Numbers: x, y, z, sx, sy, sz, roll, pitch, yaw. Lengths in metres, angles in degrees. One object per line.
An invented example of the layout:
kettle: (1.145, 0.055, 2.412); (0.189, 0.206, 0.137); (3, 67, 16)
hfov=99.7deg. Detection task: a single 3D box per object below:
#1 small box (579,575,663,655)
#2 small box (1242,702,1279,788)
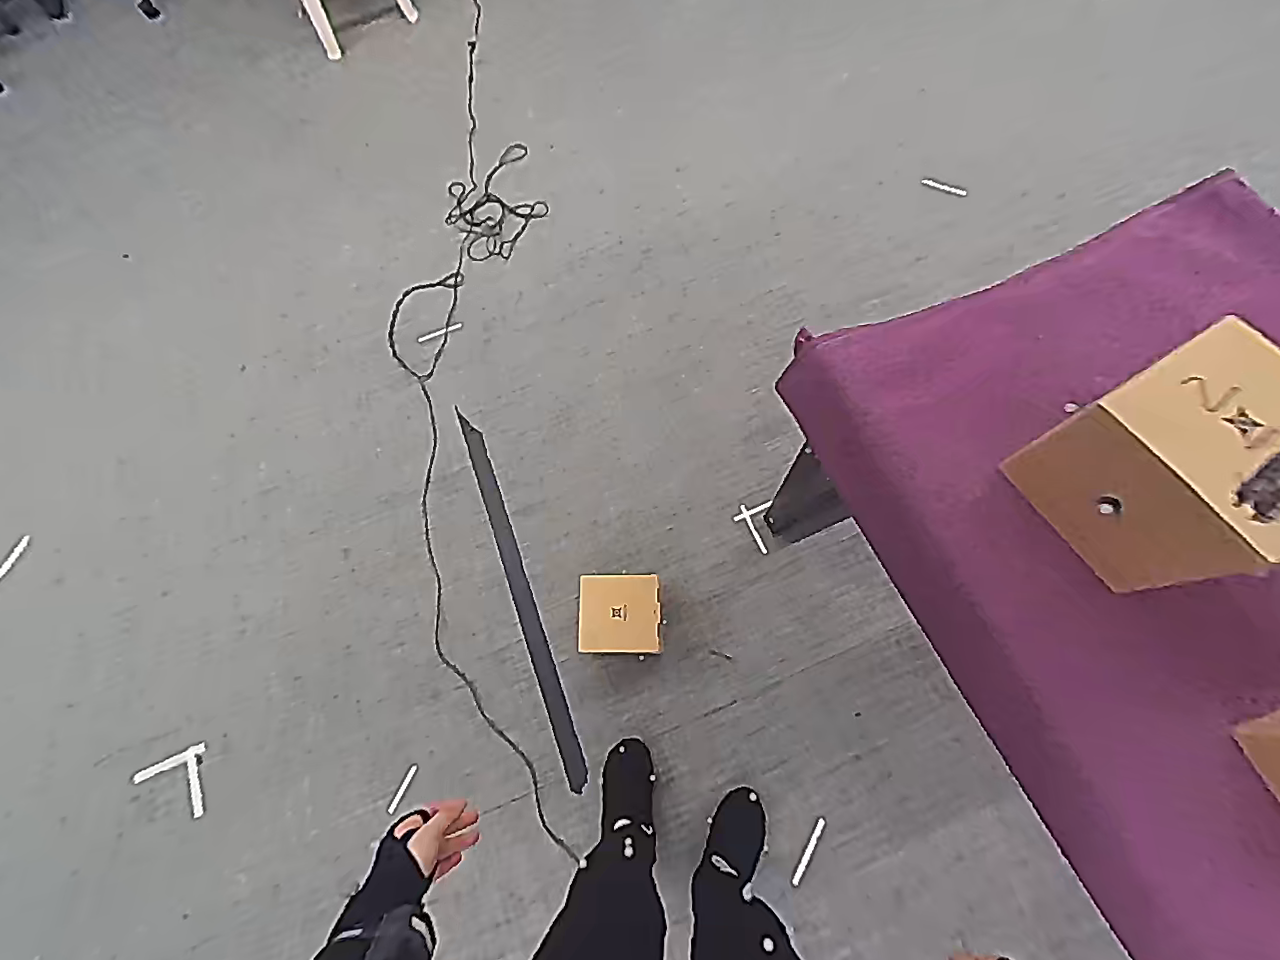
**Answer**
small box: (-0.038, 0.314, 1.244); (0.179, 0.176, 0.168); (-2, 71, 3)
small box: (0.679, 0.259, 0.429); (0.168, 0.176, 0.179); (-21, 70, -4)
